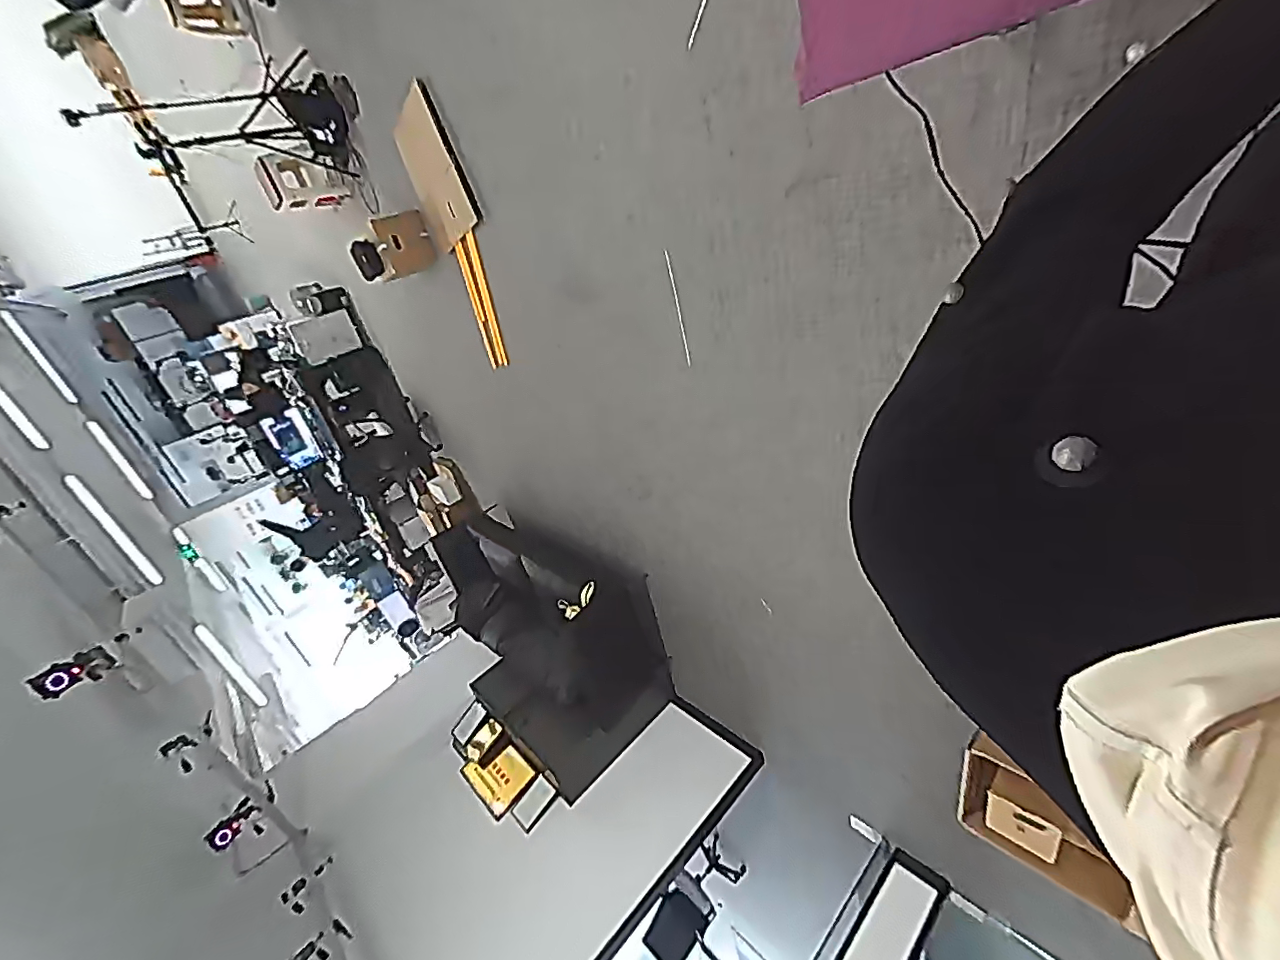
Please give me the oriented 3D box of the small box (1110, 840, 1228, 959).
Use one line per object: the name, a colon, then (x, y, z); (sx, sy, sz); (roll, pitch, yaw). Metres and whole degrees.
small box: (1.301, 1.047, 1.331); (0.168, 0.176, 0.179); (20, 133, 43)
